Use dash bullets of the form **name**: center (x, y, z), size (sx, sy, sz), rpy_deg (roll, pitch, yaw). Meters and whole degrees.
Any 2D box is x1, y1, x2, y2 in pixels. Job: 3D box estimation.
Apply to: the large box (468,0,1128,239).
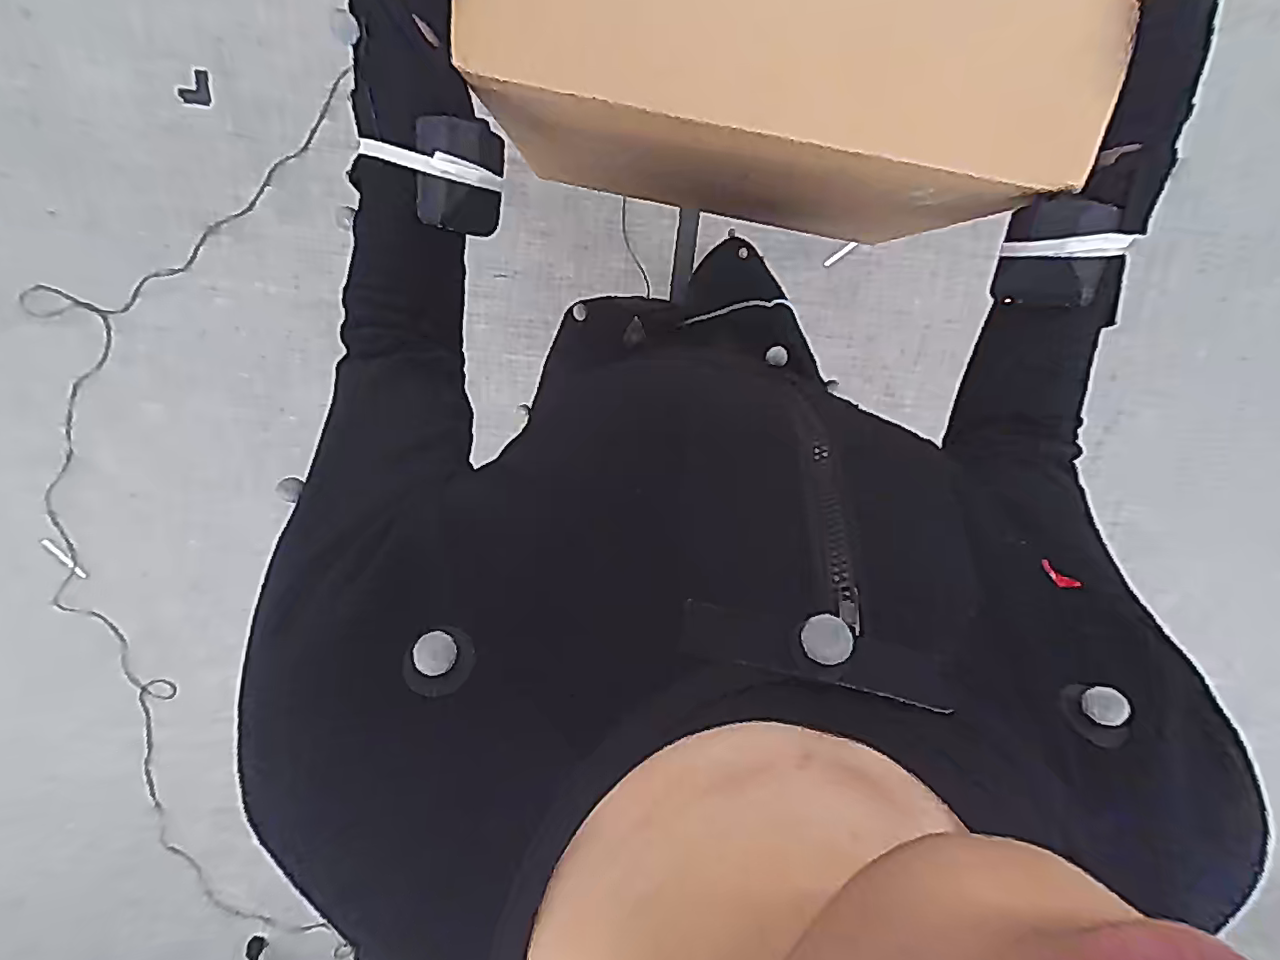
- **large box**: center (0.105, -0.410, 0.444), size (0.408, 0.320, 0.320), rpy_deg (9, 109, -4)
